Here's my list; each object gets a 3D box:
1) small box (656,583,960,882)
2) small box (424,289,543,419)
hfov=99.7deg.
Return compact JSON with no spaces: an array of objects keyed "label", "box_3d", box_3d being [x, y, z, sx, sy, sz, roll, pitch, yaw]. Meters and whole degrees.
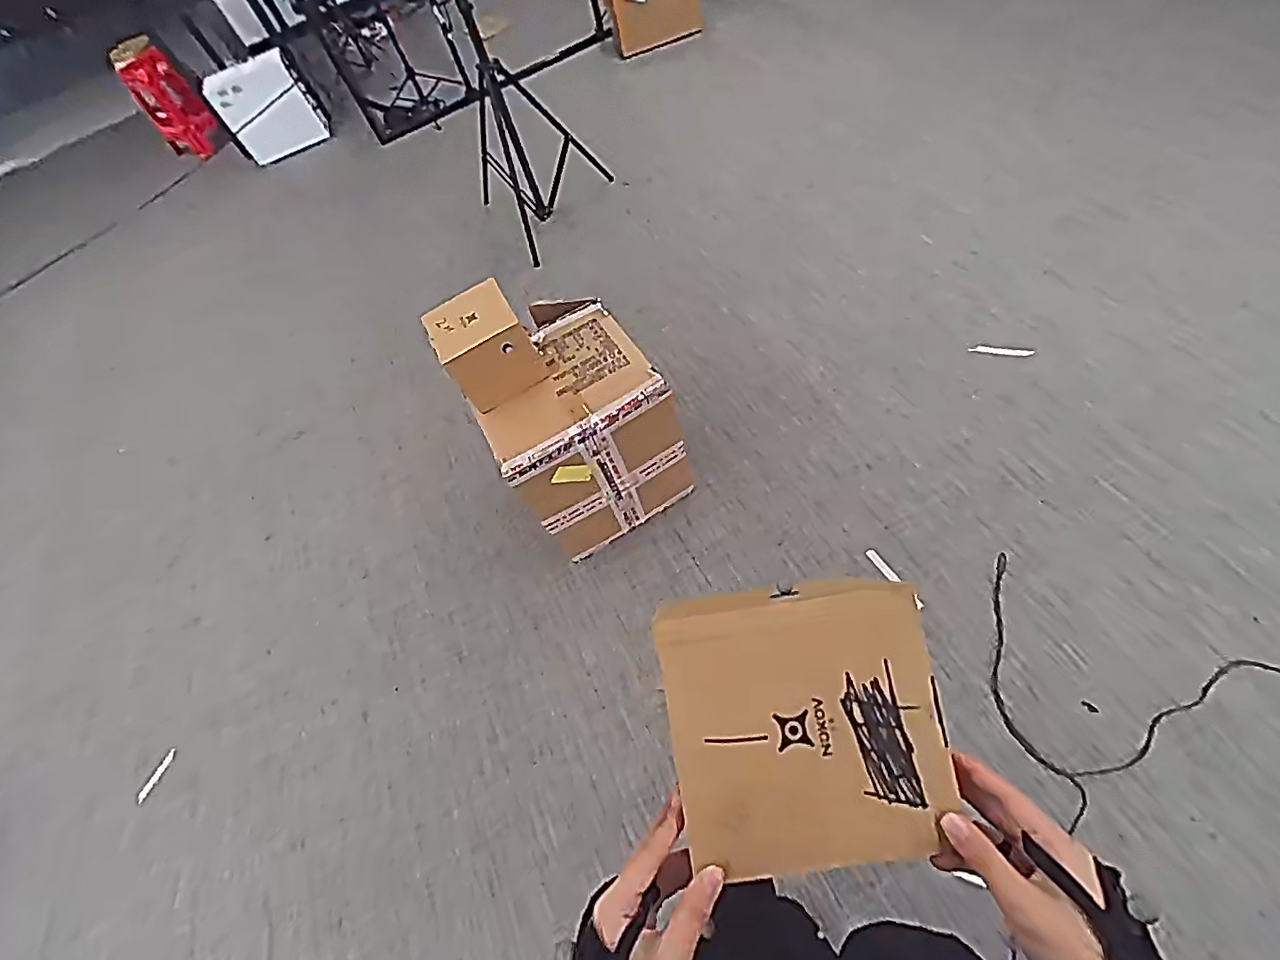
[{"label":"small box","box_3d":[0.110,0.177,0.435,0.179,0.176,0.168,-9,80,2]},{"label":"small box","box_3d":[-0.326,-0.267,1.166,0.179,0.176,0.168,-30,58,-2]}]
